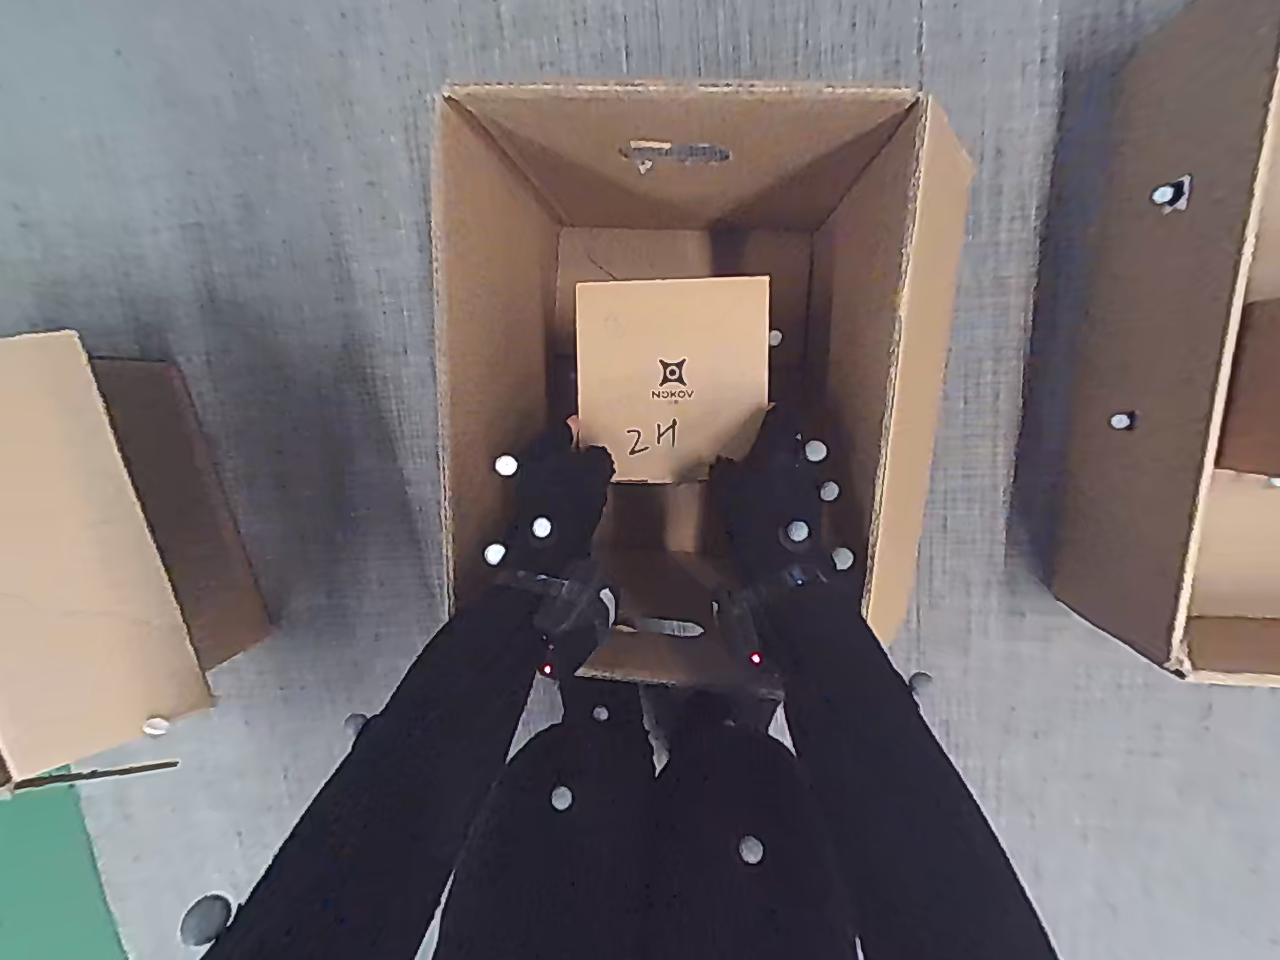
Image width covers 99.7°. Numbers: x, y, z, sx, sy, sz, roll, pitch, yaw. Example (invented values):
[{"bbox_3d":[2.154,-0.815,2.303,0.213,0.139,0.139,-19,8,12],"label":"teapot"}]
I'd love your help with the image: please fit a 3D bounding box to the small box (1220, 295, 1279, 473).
[{"bbox_3d":[0.686,-0.082,0.477,0.168,0.176,0.179,3,99,5],"label":"small box"}]
